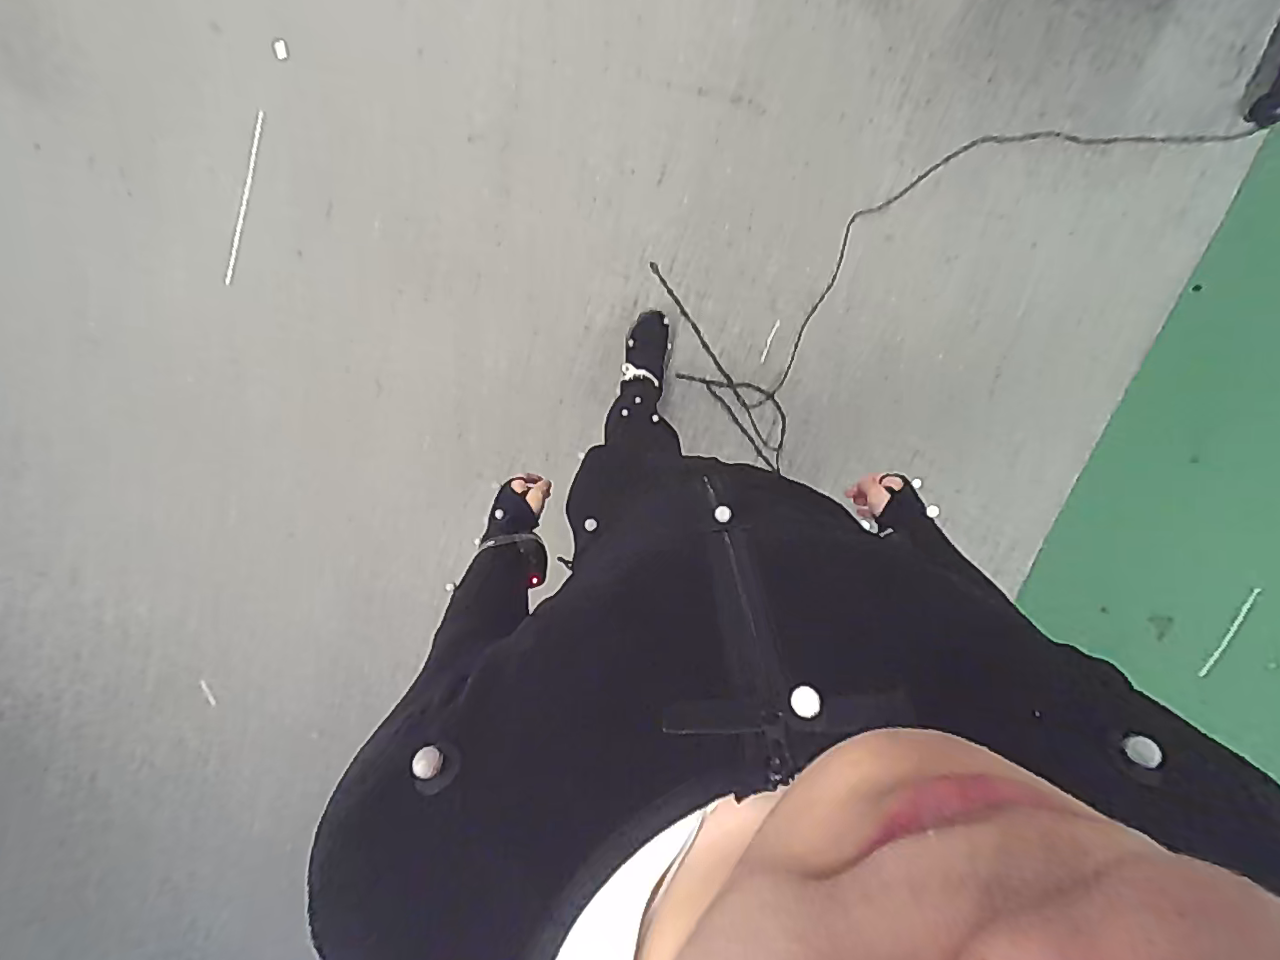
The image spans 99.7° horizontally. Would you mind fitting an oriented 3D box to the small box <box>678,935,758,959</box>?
[{"bbox_3d":[0.143,1.055,1.052,0.168,0.176,0.179,22,102,-2],"label":"small box"}]
